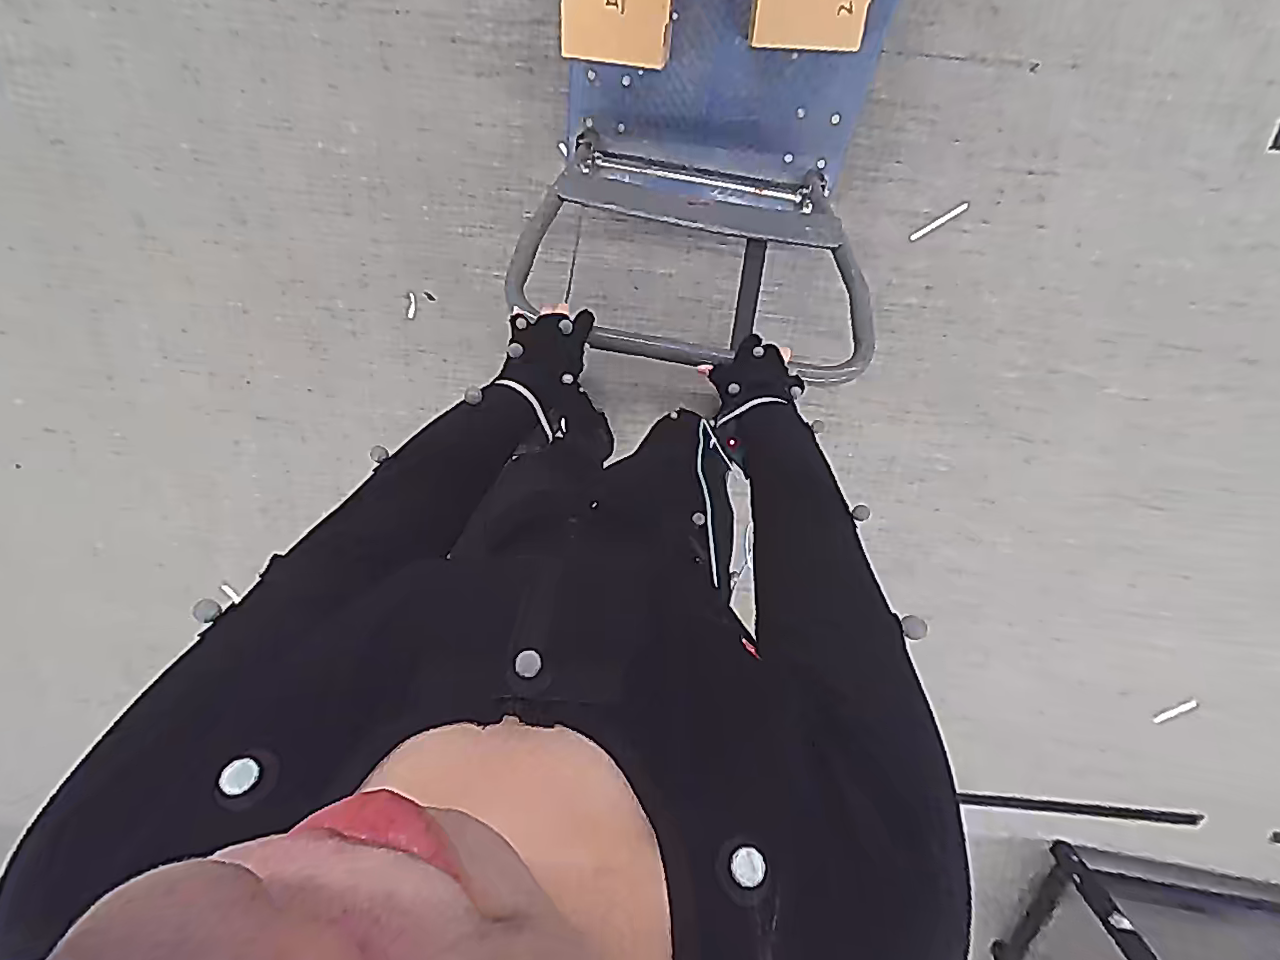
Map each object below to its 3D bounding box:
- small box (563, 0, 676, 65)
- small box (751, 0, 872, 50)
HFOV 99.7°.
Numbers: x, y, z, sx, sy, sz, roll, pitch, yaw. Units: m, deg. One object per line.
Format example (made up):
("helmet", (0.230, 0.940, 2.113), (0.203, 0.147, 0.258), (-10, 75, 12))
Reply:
("small box", (-0.029, -0.823, 0.918), (0.179, 0.176, 0.168), (7, 132, 0))
("small box", (0.281, -0.814, 0.880), (0.179, 0.176, 0.168), (6, 132, 3))
